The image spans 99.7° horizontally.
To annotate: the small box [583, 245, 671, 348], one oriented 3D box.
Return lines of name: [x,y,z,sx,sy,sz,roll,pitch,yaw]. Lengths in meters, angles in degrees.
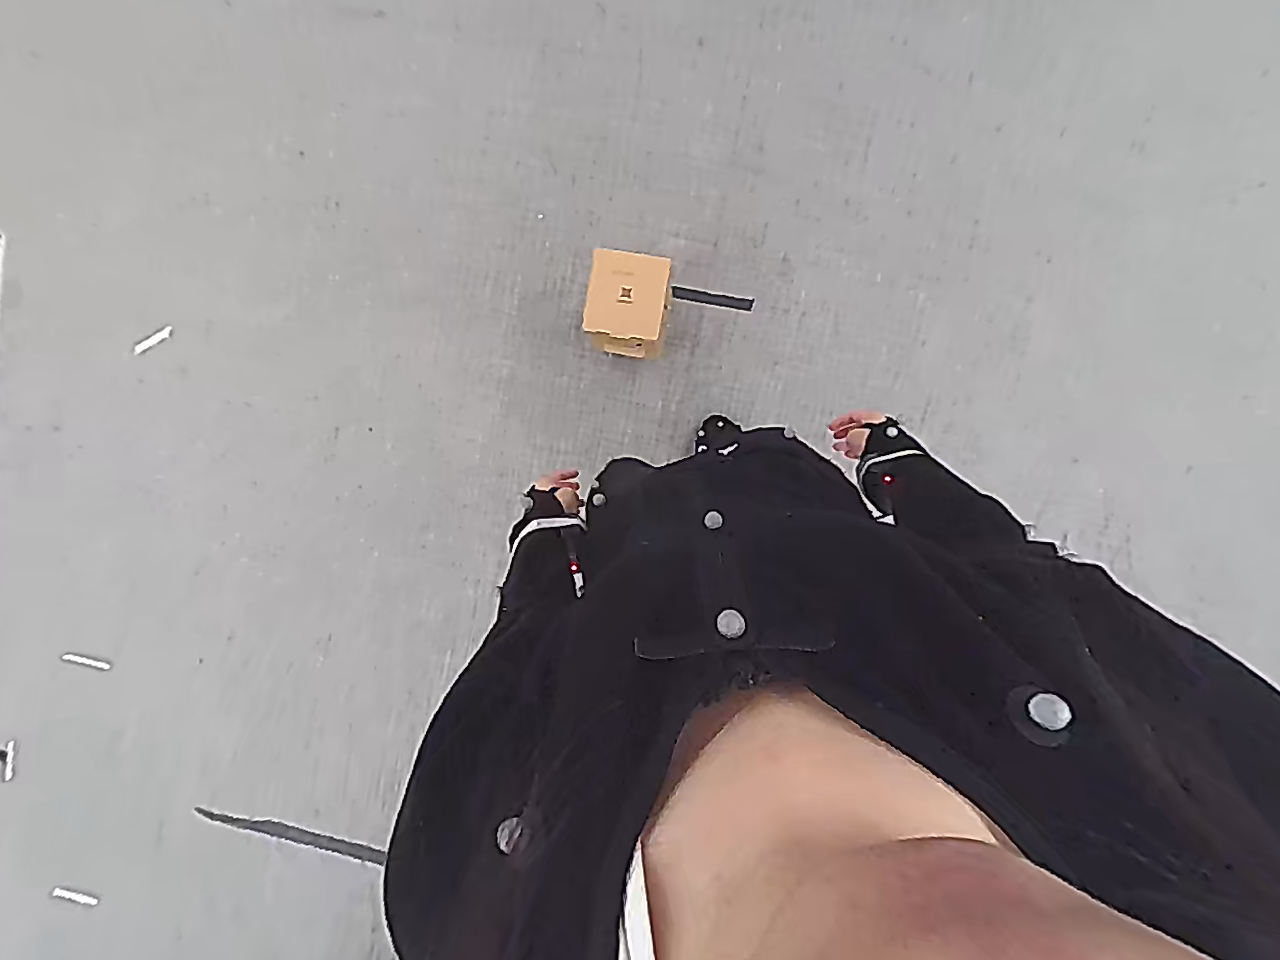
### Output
small box: [-0.022,-0.402,1.216,0.168,0.176,0.179,10,96,2]

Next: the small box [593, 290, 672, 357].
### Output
small box: [-0.013,-0.419,1.377,0.168,0.176,0.179,10,96,3]
